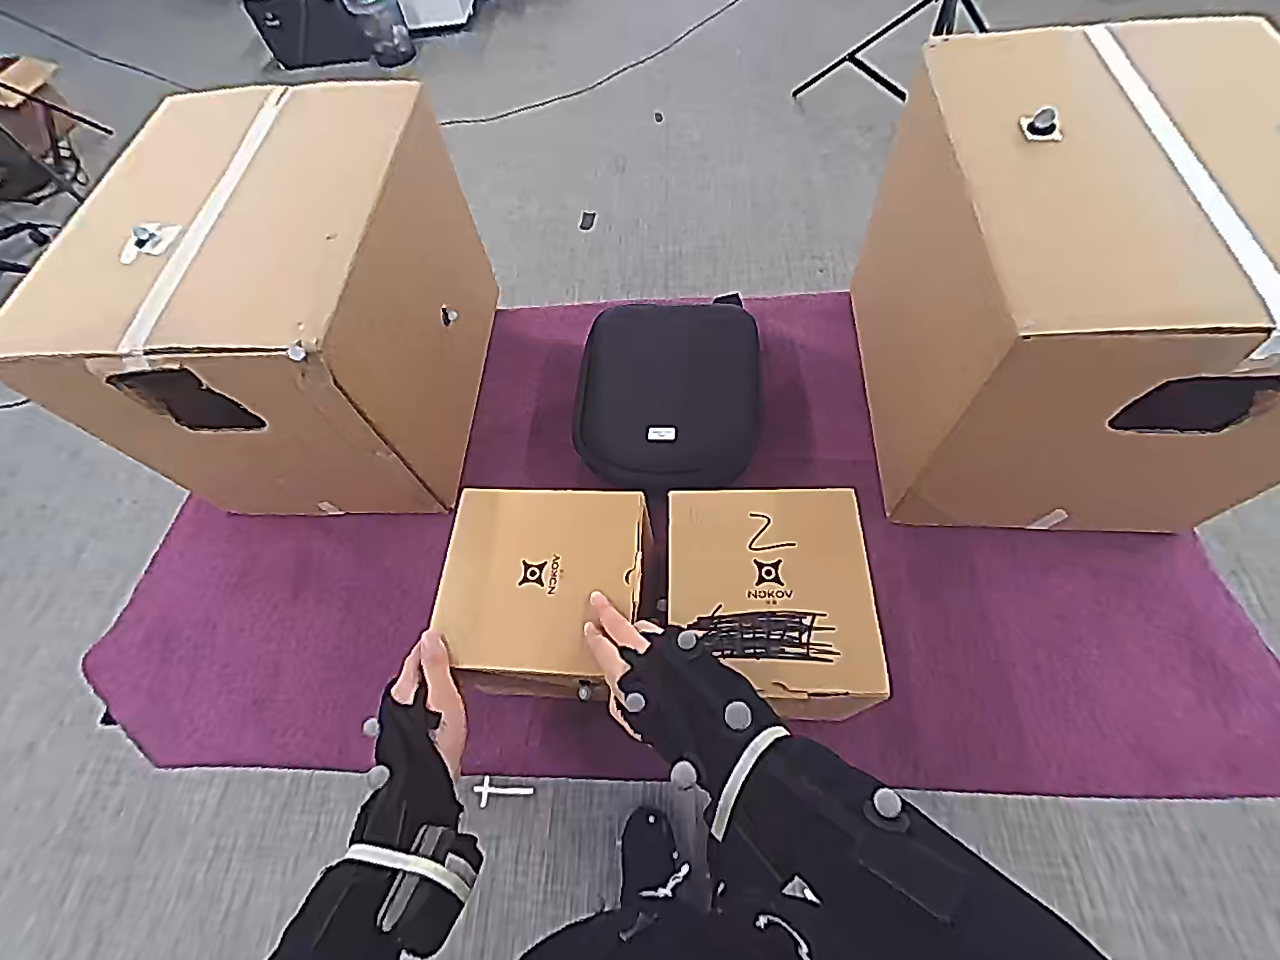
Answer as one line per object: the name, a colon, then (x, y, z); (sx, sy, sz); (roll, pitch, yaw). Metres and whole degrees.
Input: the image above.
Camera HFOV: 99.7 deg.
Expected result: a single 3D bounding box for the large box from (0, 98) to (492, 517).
large box: (-0.396, -0.196, 0.675); (0.320, 0.320, 0.408); (-2, 63, 4)
